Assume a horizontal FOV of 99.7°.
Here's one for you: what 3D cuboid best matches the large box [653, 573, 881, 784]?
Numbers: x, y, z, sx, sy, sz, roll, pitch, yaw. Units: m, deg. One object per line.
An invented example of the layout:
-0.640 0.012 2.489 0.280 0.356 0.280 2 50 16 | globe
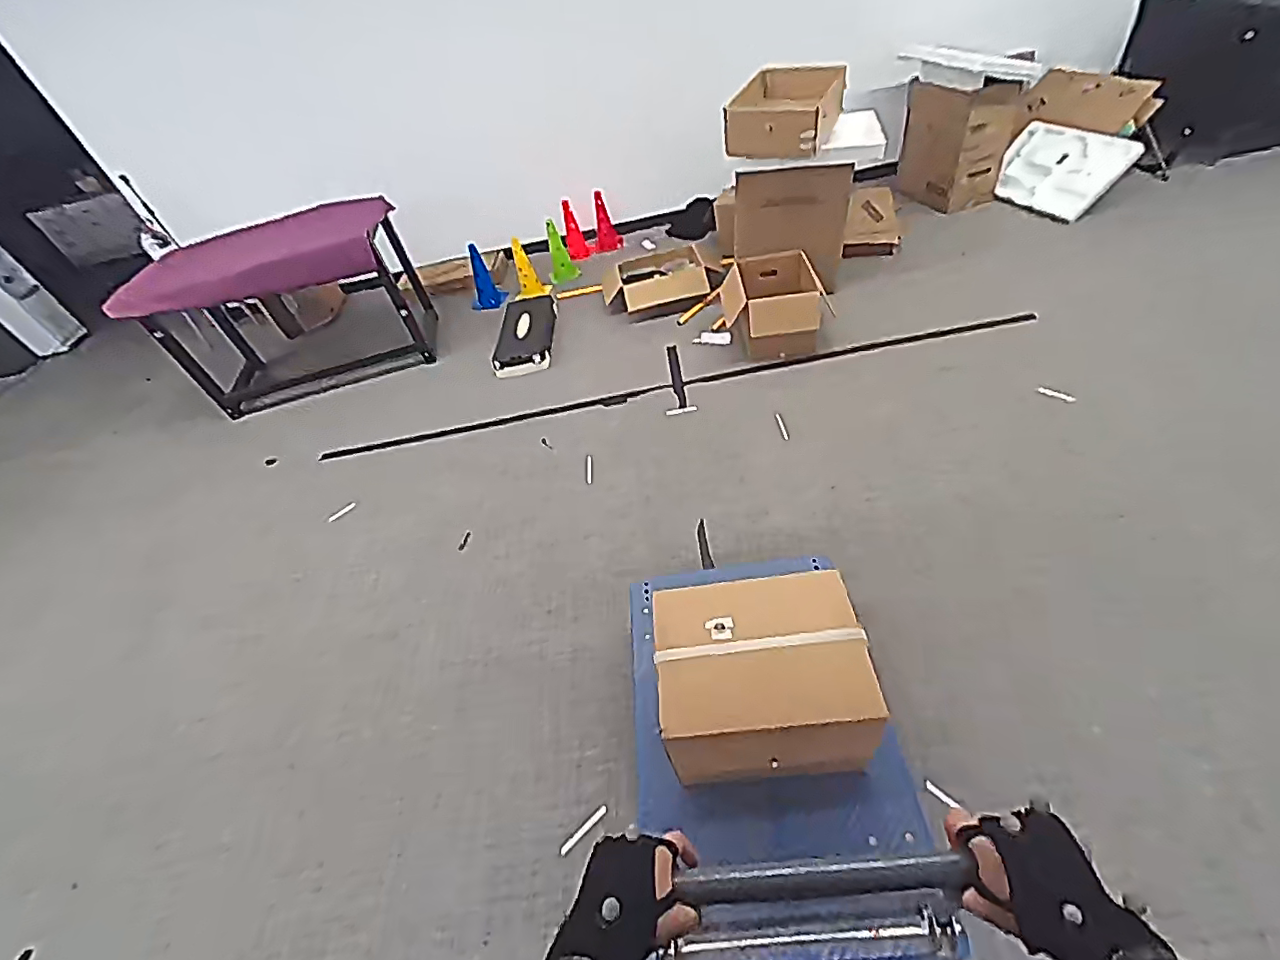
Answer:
0.261 0.445 1.192 0.408 0.320 0.320 -9 44 6 | large box
